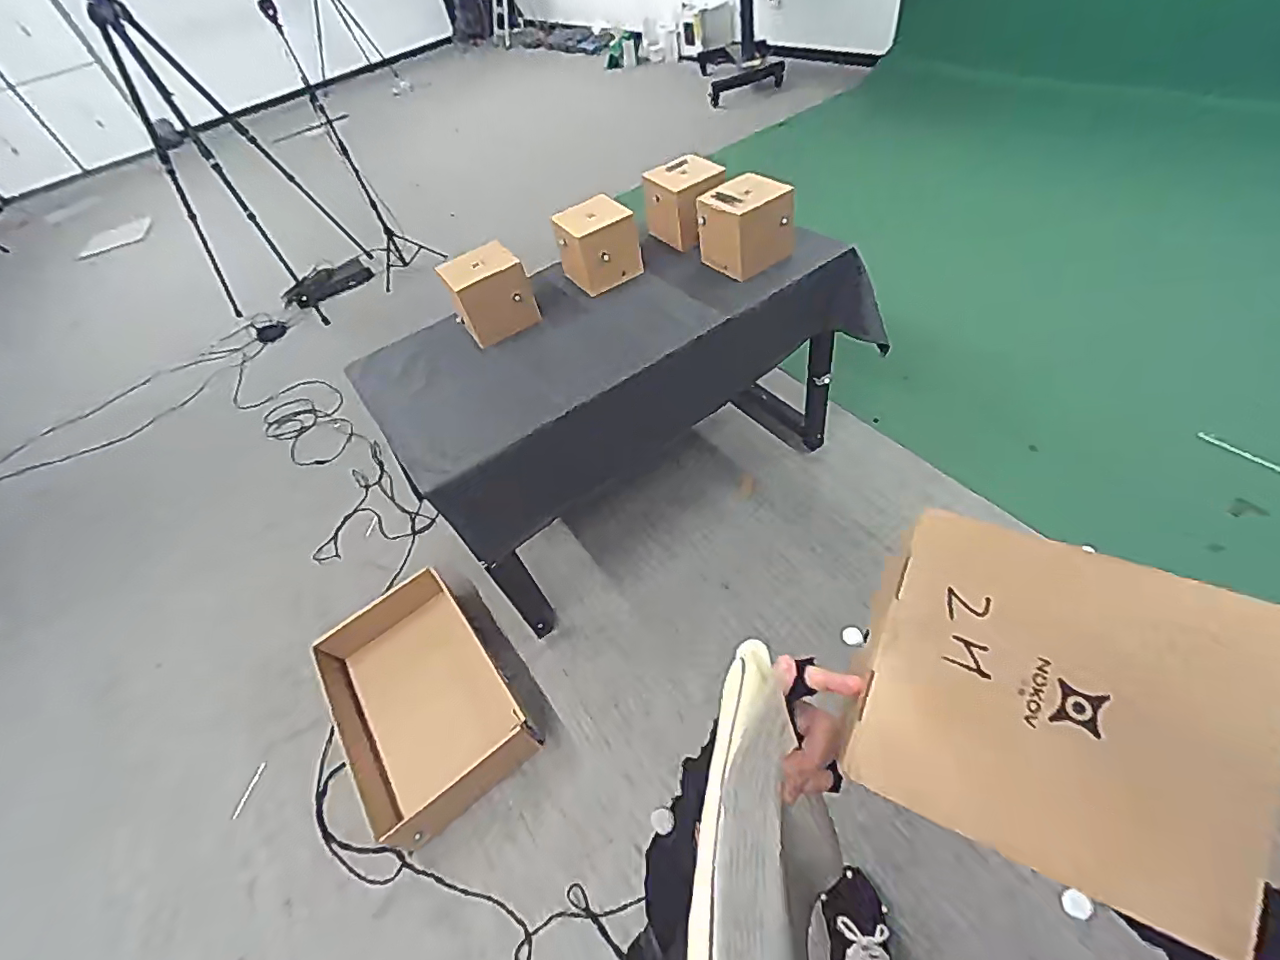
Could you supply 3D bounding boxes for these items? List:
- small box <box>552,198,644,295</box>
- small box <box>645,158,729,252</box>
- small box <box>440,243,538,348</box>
[{"bbox_3d":[-0.107,-0.621,1.451,0.168,0.176,0.179,-30,50,-13],"label":"small box"},{"bbox_3d":[0.134,-0.768,1.516,0.168,0.176,0.179,-30,51,-12],"label":"small box"},{"bbox_3d":[-0.377,-0.470,1.381,0.179,0.176,0.168,-30,50,-14],"label":"small box"}]
